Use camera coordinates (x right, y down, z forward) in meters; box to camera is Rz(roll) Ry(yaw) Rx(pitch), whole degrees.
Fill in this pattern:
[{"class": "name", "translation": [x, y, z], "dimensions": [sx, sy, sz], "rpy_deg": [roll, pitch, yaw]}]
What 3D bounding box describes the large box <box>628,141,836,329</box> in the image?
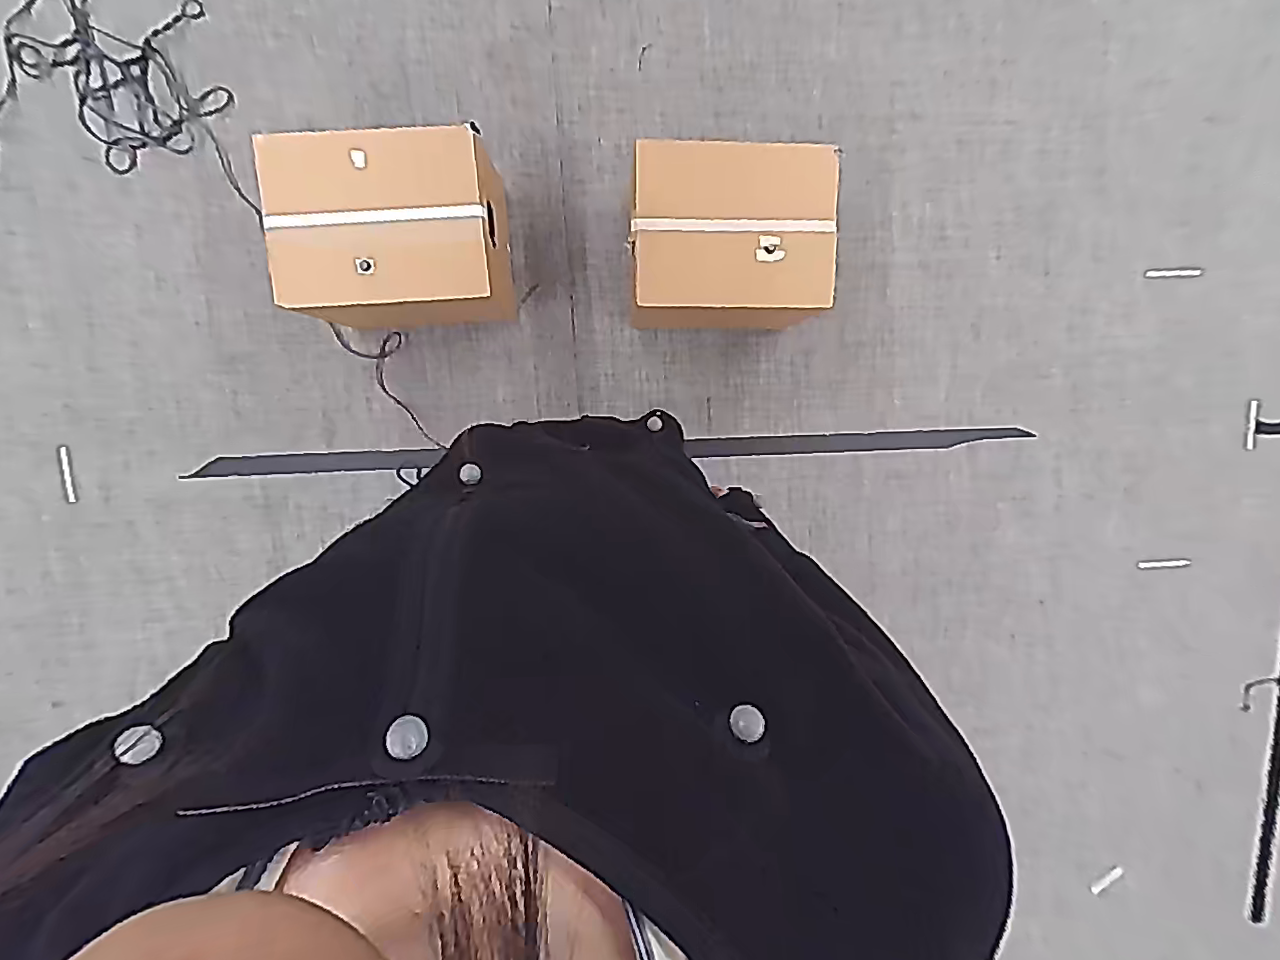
[{"class": "large box", "translation": [0.182, -0.525, 1.225], "dimensions": [0.408, 0.320, 0.320], "rpy_deg": [0, 98, -5]}]
